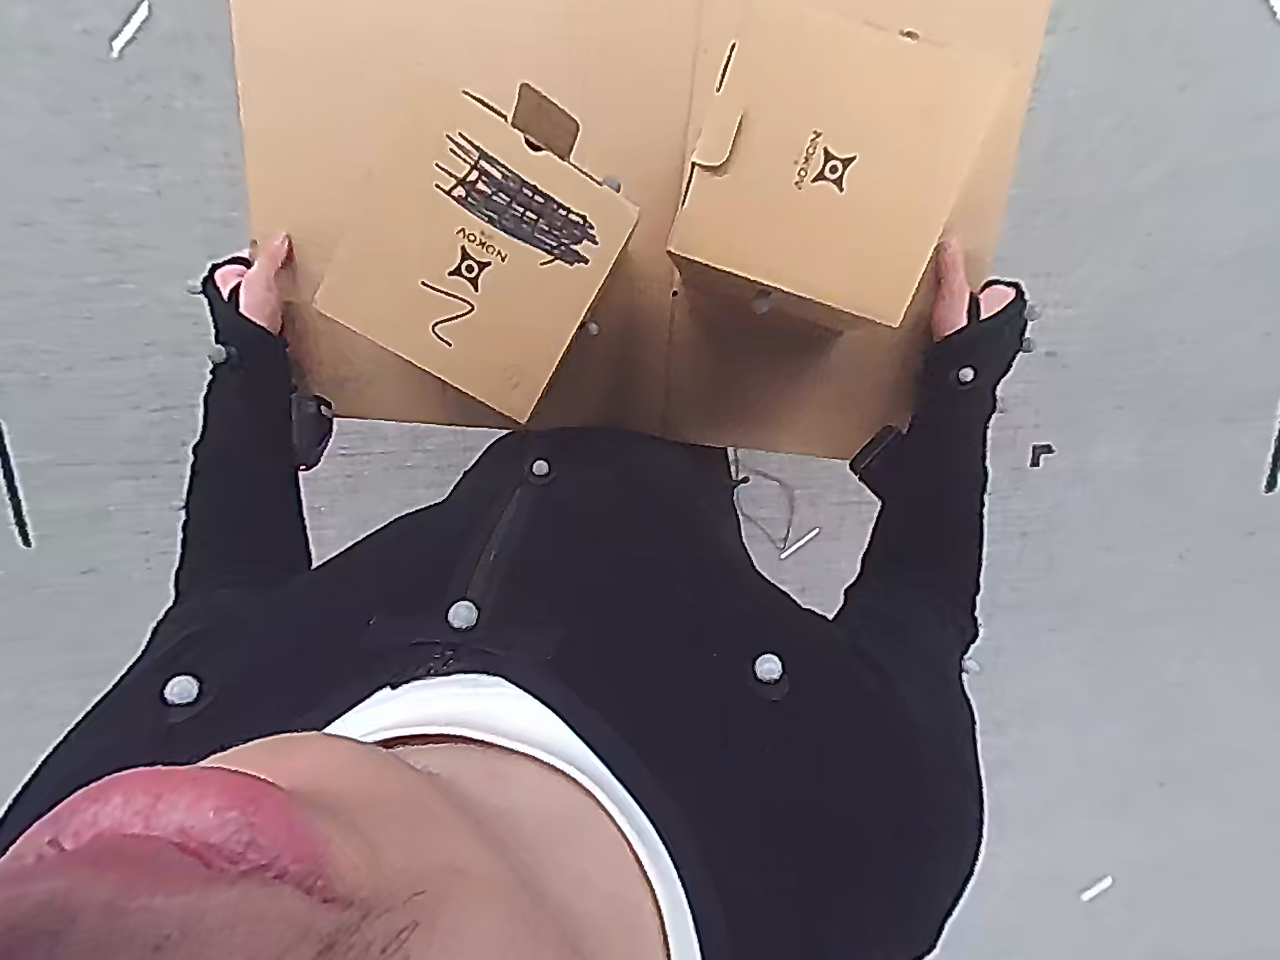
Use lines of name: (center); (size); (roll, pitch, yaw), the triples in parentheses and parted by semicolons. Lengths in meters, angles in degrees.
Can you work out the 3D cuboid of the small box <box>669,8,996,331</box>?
small box: (0.139, -0.233, 0.454); (0.179, 0.176, 0.168); (20, 106, 4)
